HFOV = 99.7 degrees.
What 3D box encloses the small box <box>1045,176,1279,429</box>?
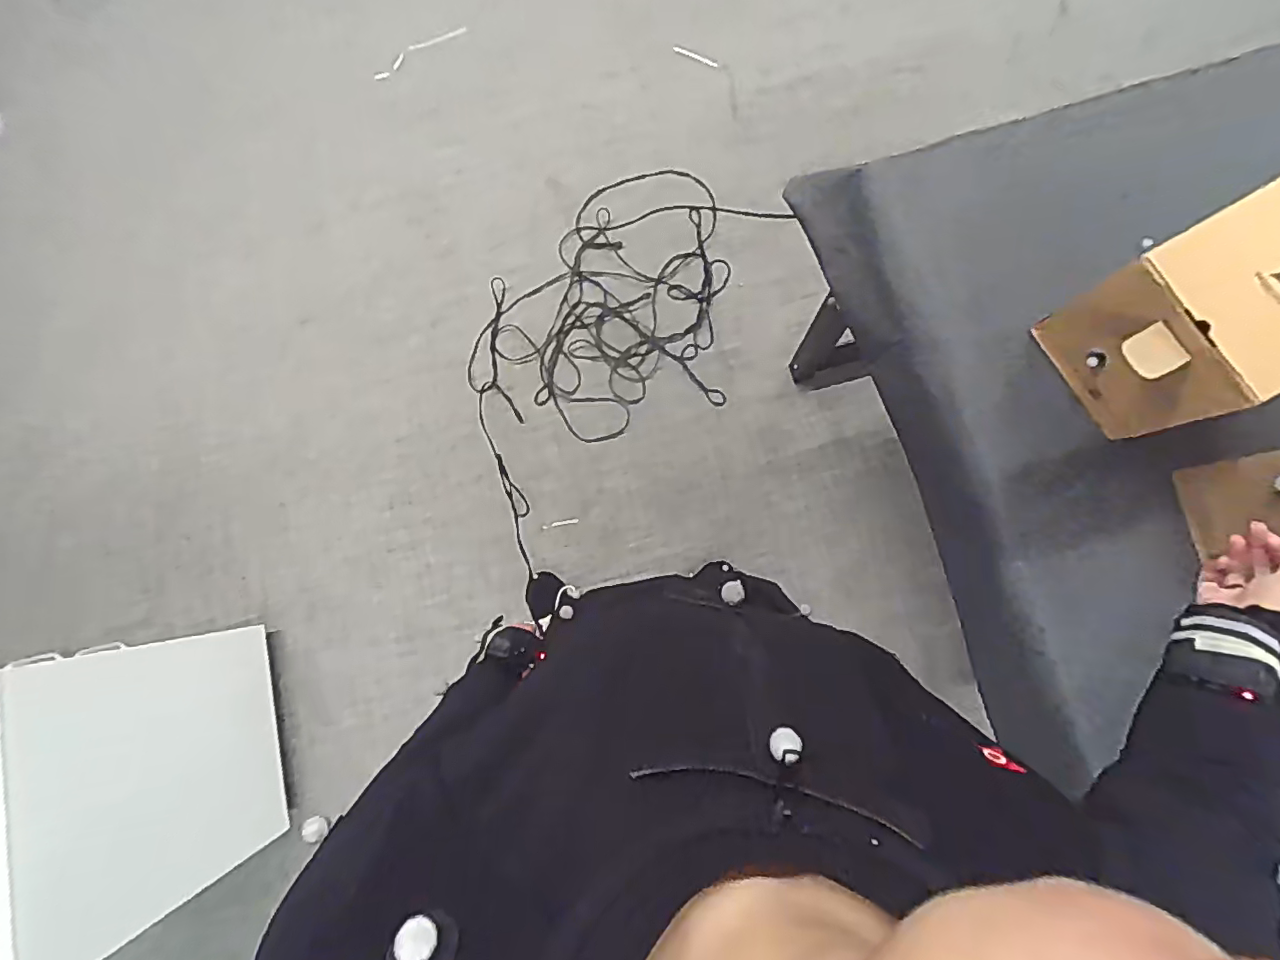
[{"bbox_3d":[0.587,-0.175,0.561,0.179,0.176,0.168,-31,82,1],"label":"small box"}]
